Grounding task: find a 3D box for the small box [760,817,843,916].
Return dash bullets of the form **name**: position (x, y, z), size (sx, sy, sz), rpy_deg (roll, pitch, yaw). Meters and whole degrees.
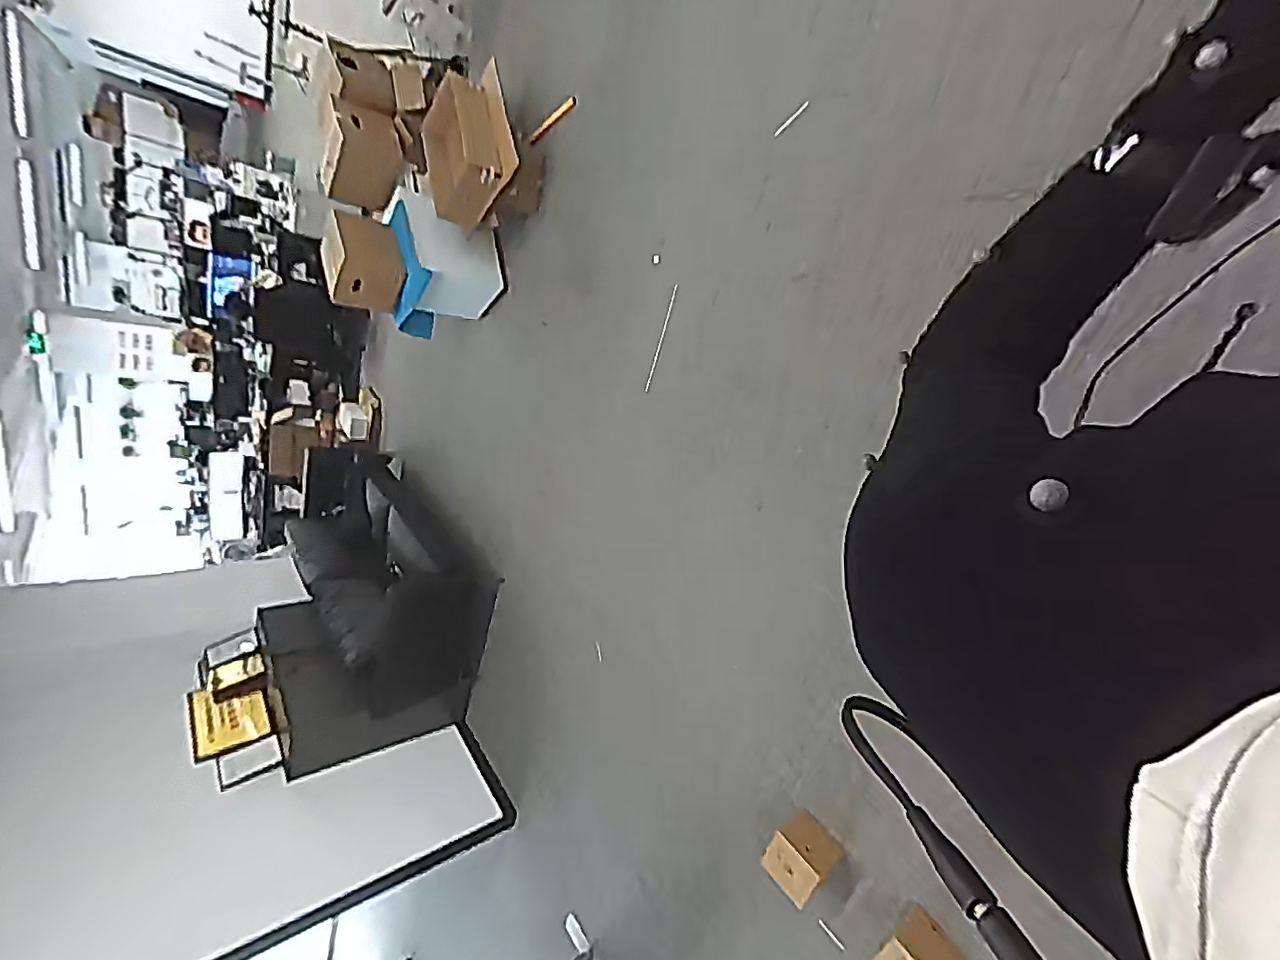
- **small box**: position (0.537, 1.268, 1.788), size (0.179, 0.176, 0.168), rpy_deg (38, 117, 42)
